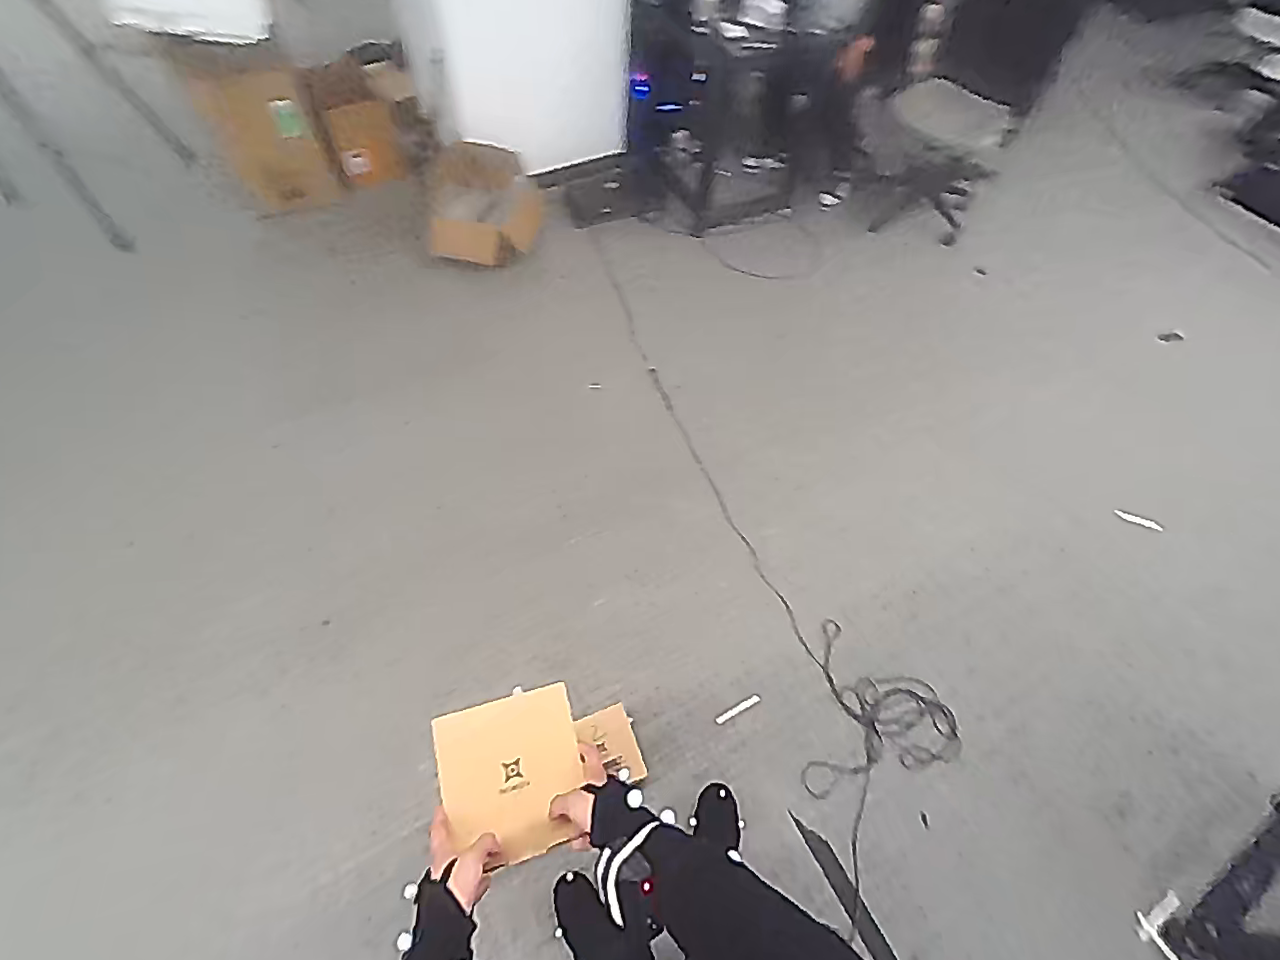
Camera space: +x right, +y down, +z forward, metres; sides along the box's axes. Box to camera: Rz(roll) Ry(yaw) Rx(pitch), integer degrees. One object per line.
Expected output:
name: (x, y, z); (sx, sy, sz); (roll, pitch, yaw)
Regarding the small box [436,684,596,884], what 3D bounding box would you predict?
small box: (-0.164, 0.385, 0.710); (0.168, 0.176, 0.179); (-10, 68, -16)
